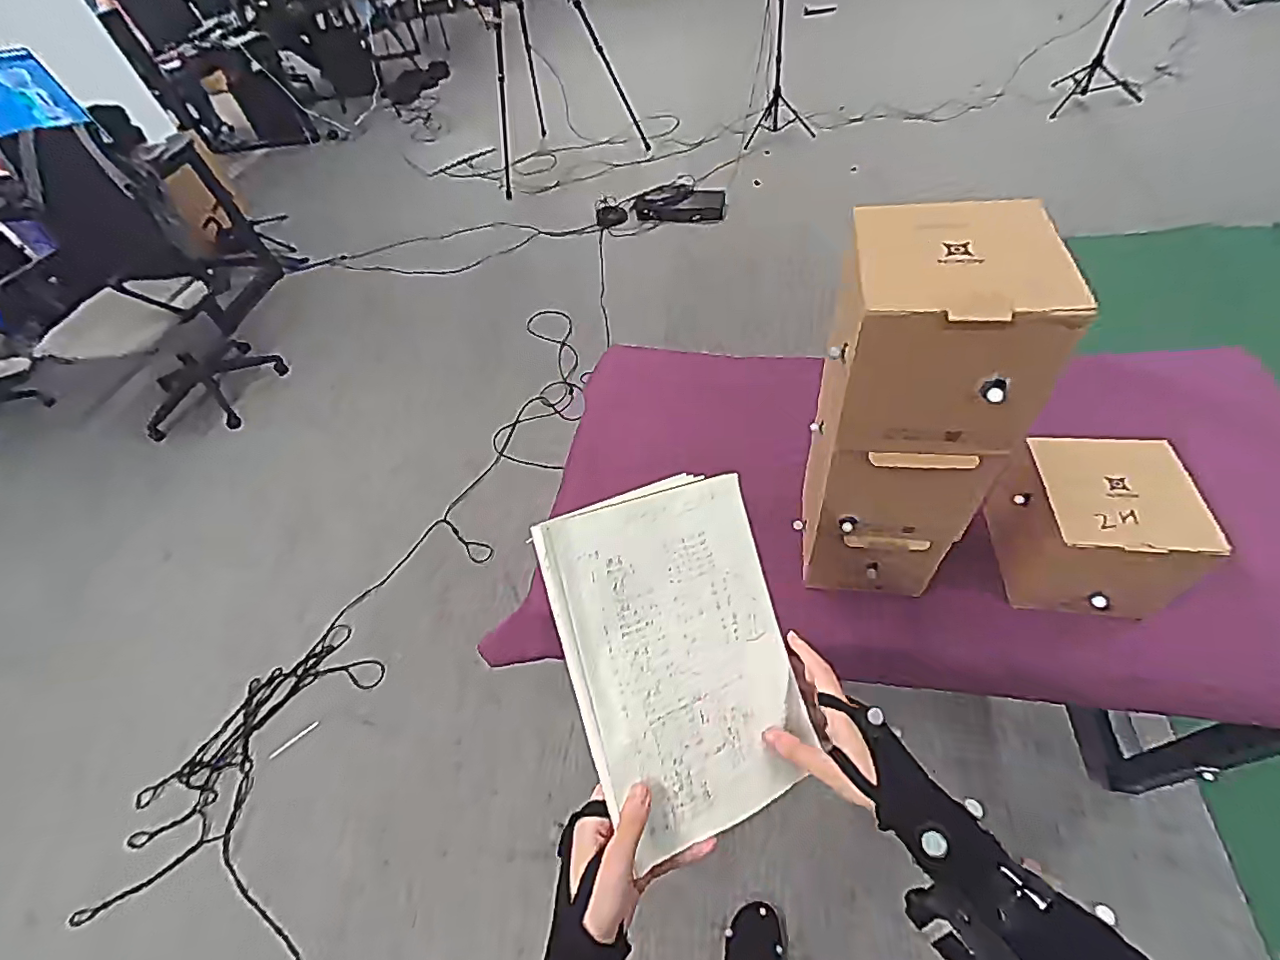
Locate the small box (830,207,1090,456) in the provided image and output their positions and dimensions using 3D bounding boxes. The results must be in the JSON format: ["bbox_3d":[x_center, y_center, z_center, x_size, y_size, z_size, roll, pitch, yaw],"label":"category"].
[{"bbox_3d":[0.285,-0.140,0.532,0.168,0.176,0.179,4,52,12],"label":"small box"}]

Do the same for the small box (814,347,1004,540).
[{"bbox_3d":[0.308,-0.044,0.661,0.168,0.176,0.179,3,52,12],"label":"small box"}]

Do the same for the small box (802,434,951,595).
[{"bbox_3d":[0.332,0.053,0.793,0.168,0.176,0.179,3,53,12],"label":"small box"}]
